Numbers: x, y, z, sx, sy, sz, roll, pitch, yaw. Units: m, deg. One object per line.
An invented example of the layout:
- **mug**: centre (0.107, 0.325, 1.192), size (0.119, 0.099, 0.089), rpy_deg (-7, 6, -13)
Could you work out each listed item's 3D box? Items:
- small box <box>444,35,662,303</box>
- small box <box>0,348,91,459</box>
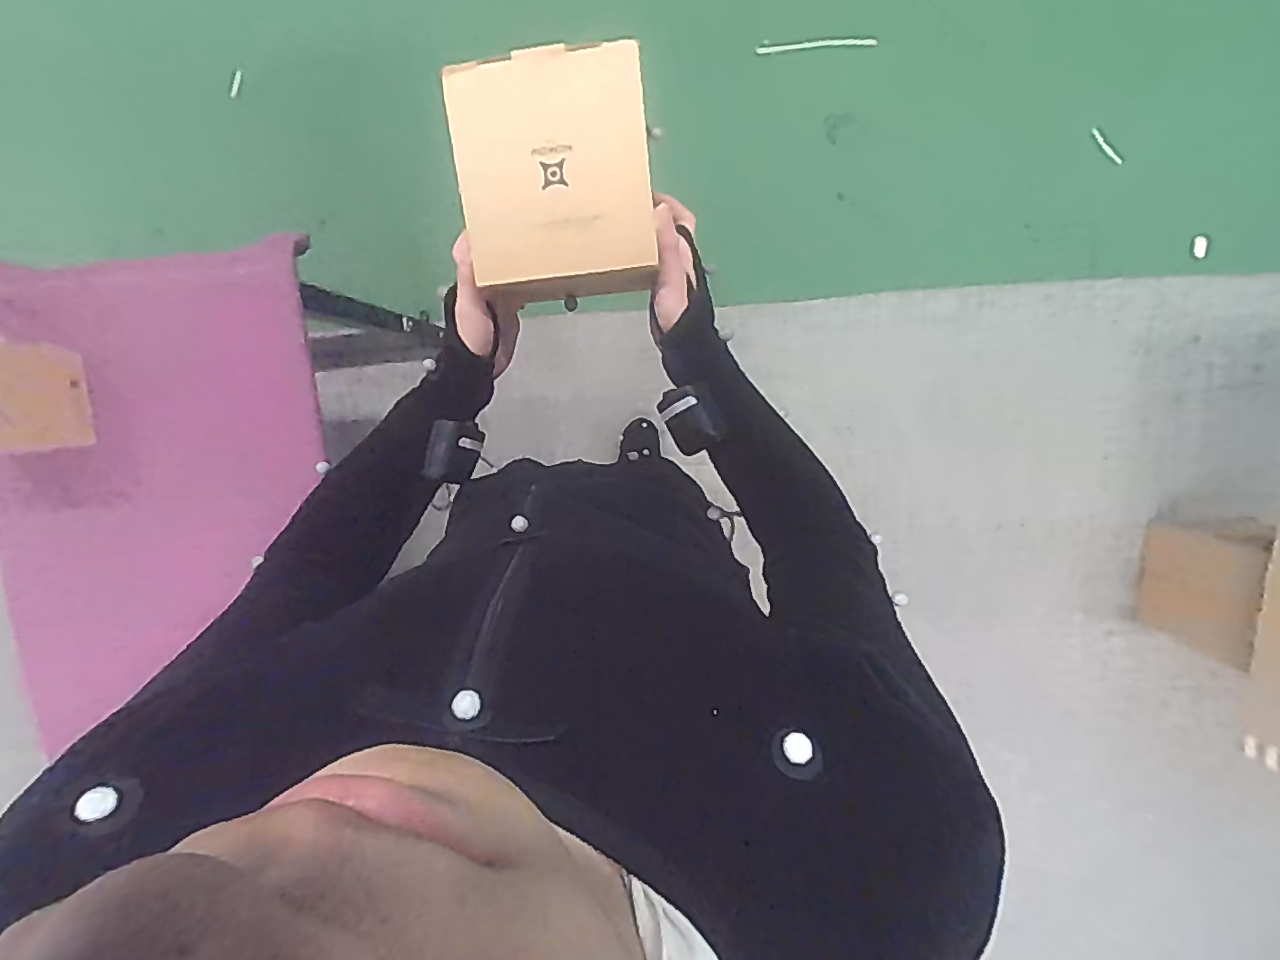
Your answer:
- **small box**: centre (-0.068, -0.278, 0.524), size (0.168, 0.176, 0.179), rpy_deg (-5, 103, 3)
- **small box**: centre (-1.026, -0.116, 0.836), size (0.179, 0.176, 0.168), rpy_deg (-2, 99, 4)
